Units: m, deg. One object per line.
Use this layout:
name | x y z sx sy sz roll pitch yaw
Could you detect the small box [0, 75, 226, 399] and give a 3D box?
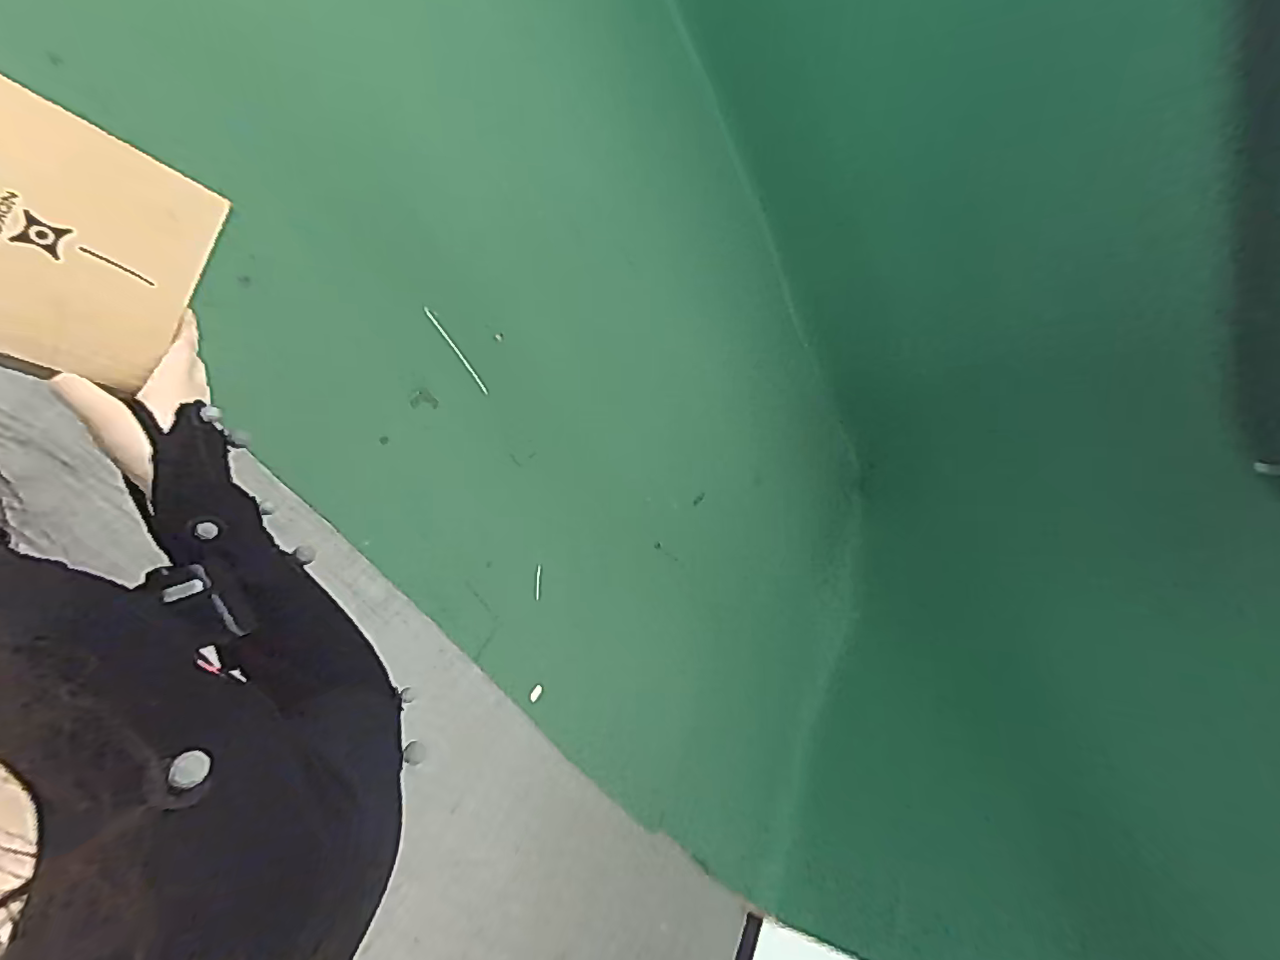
small box | -0.445 -0.163 0.391 0.179 0.176 0.168 23 77 -45
